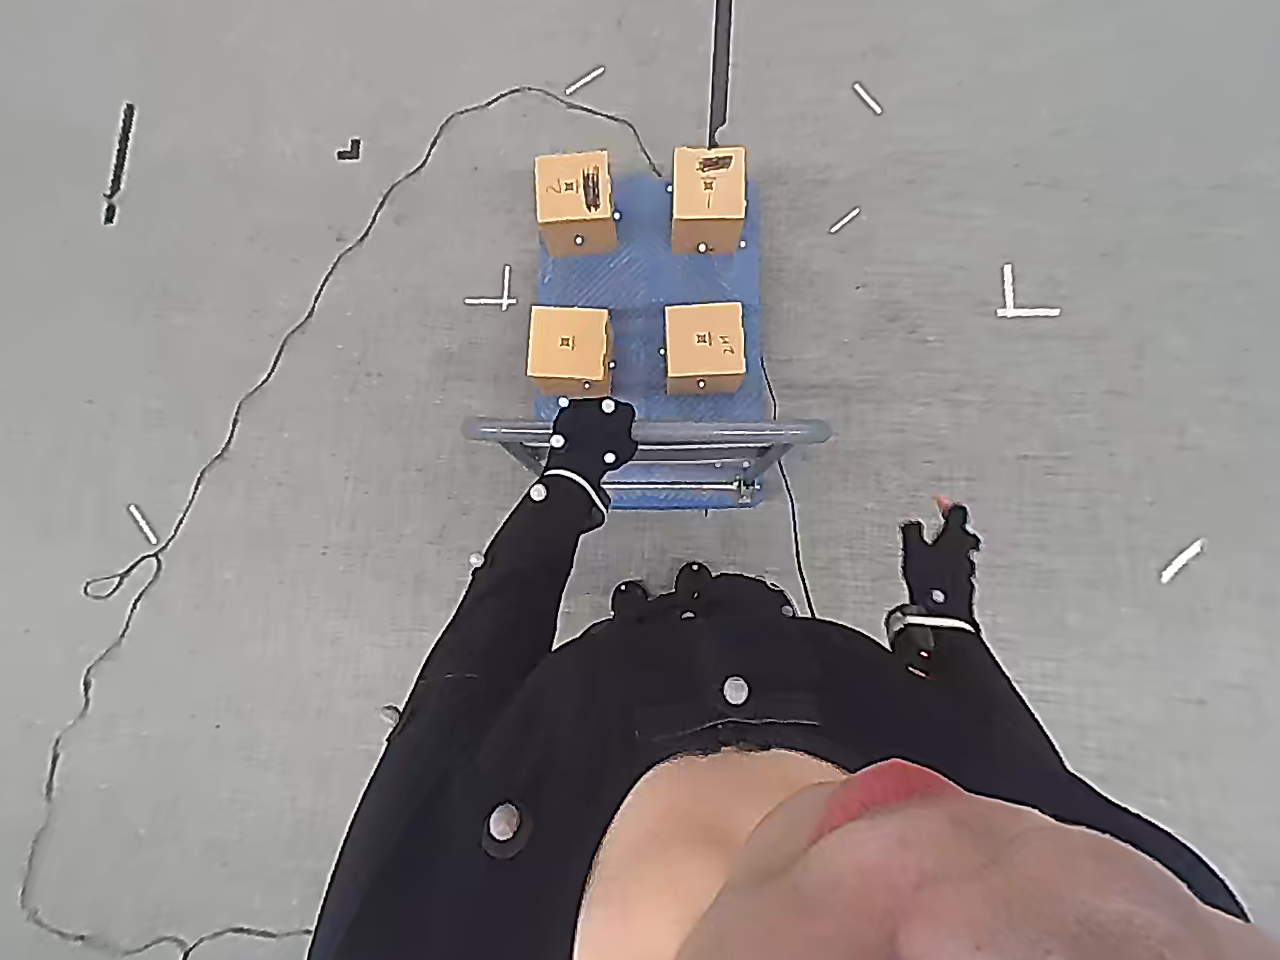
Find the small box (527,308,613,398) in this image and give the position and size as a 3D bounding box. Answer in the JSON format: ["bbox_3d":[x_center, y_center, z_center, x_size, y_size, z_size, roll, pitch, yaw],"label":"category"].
[{"bbox_3d":[-0.162,-0.299,1.303,0.179,0.176,0.168,2,84,1],"label":"small box"}]

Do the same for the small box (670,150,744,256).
[{"bbox_3d":[0.160,-0.675,1.328,0.168,0.176,0.179,0,86,2],"label":"small box"}]

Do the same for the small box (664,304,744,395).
[{"bbox_3d":[0.148,-0.304,1.293,0.179,0.176,0.168,-3,85,2],"label":"small box"}]
